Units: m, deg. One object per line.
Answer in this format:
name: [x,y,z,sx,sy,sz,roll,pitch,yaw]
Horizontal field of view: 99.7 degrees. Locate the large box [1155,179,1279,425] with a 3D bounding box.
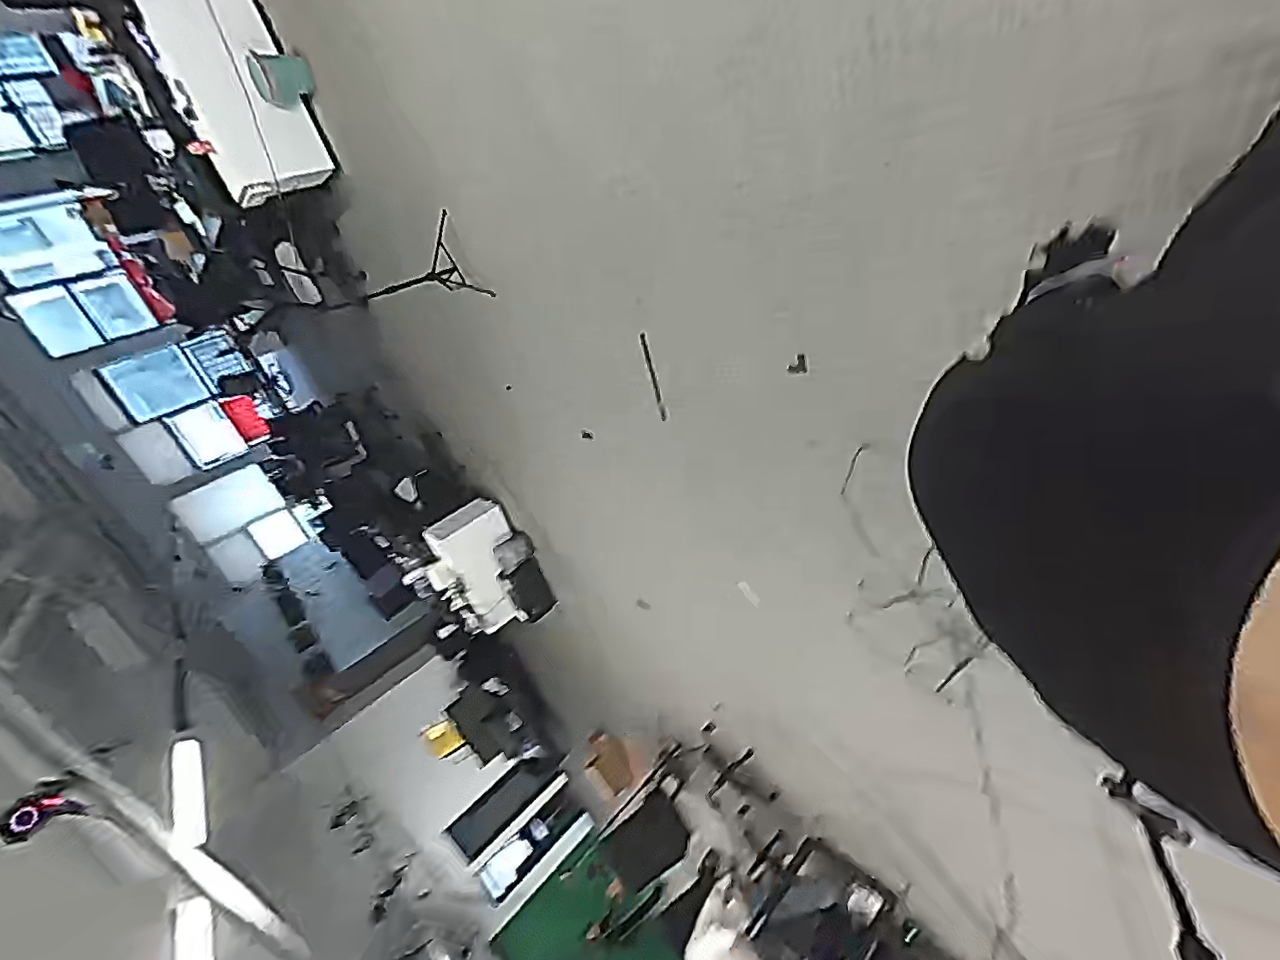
large box: [1.091,-0.283,0.808,0.408,0.320,0.320,14,132,48]
